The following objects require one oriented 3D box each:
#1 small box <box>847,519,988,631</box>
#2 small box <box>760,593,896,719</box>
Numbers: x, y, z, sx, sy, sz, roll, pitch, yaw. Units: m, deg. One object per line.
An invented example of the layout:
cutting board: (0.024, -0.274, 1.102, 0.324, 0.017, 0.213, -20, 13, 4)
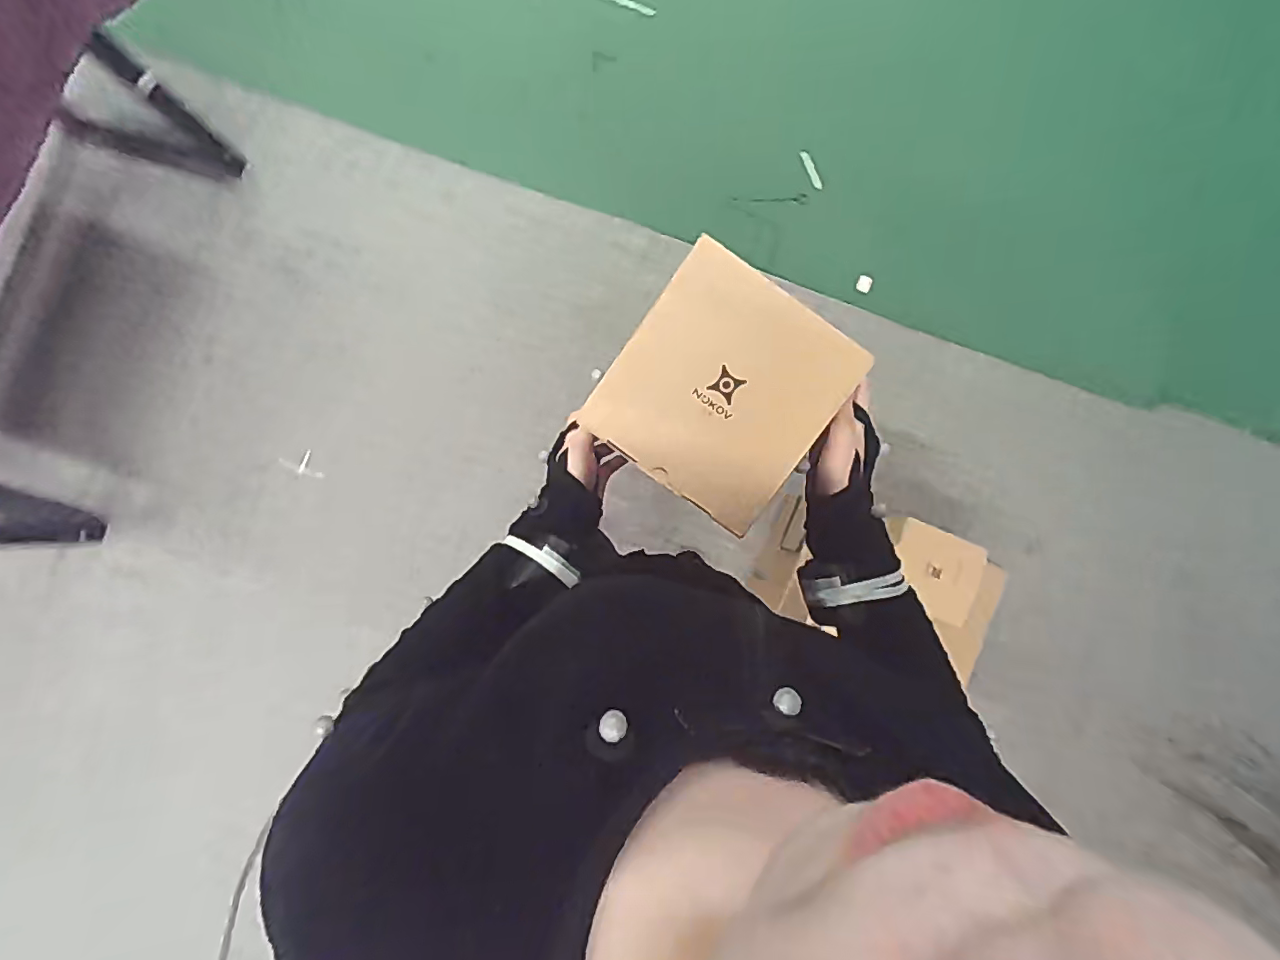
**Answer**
small box: (0.562, 0.191, 1.119, 0.179, 0.176, 0.168, 24, 85, -1)
small box: (0.372, 0.345, 1.099, 0.179, 0.176, 0.168, 27, 86, 0)
